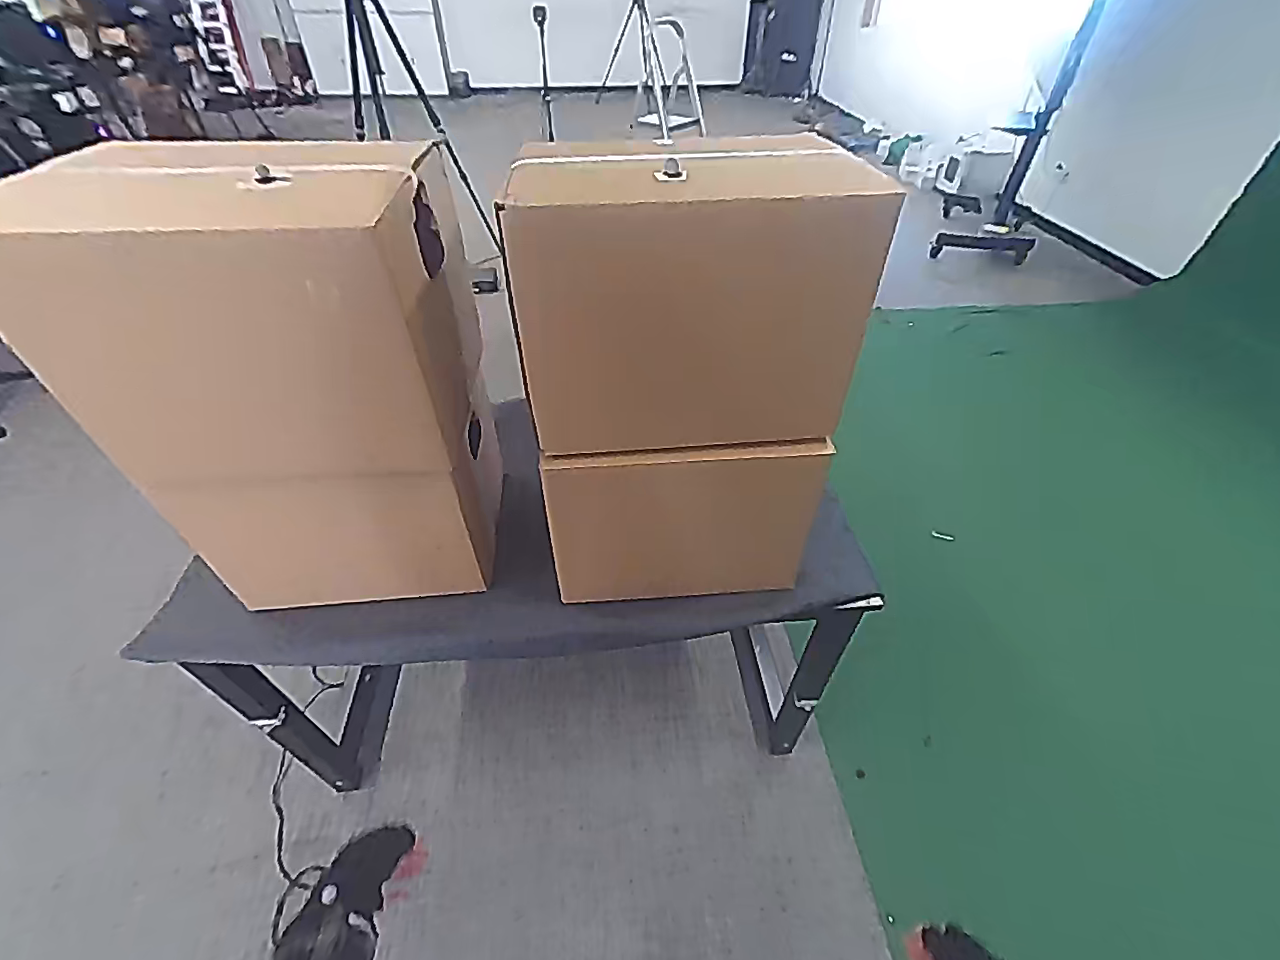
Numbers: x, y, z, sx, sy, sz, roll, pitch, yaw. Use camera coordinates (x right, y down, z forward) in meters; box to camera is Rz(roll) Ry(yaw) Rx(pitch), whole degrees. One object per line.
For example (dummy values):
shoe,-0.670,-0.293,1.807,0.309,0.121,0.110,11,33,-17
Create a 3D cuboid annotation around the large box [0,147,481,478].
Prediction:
large box,-0.451,-0.220,0.704,0.408,0.320,0.320,-2,45,-5
